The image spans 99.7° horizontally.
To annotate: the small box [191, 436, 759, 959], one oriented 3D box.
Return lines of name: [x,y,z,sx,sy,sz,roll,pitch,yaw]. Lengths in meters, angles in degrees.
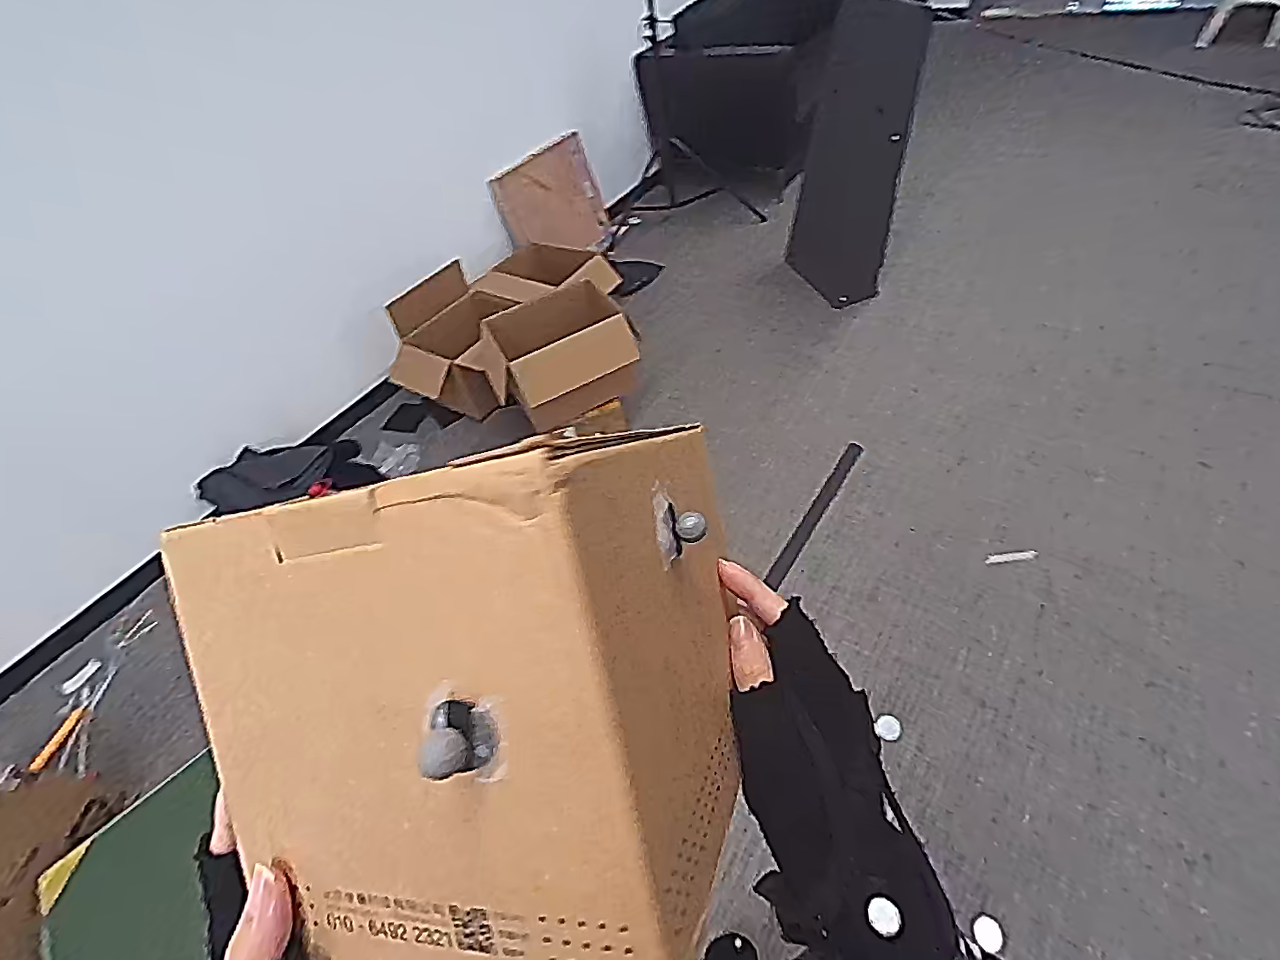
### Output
small box: [-0.047,0.081,0.252,0.168,0.179,0.176,-10,92,20]
